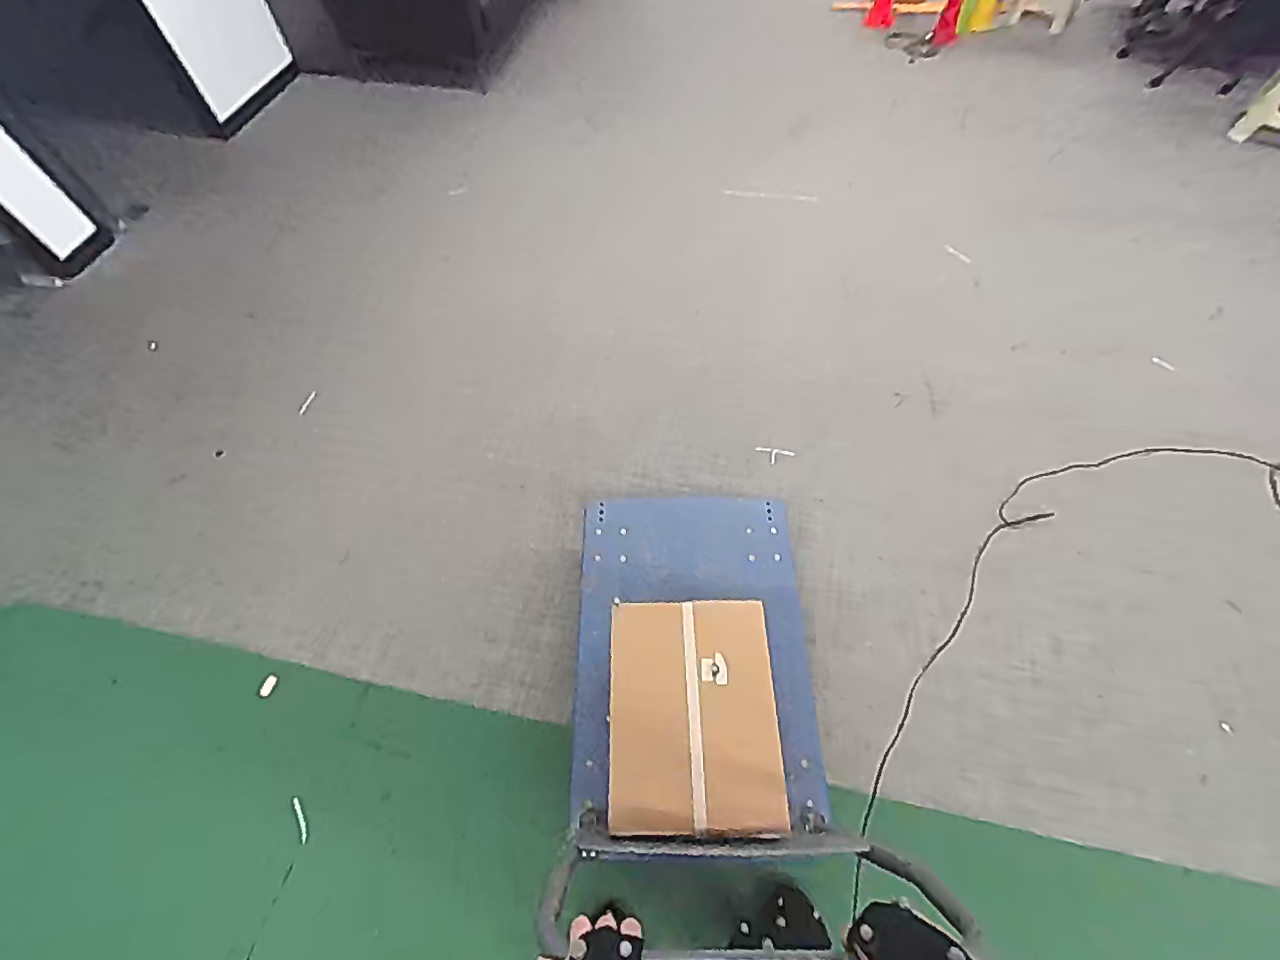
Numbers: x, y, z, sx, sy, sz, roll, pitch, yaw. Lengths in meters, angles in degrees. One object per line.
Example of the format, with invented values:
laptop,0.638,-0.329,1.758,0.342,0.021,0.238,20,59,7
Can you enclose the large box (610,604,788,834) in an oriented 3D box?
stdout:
large box,0.103,0.513,1.161,0.320,0.320,0.408,-1,59,0
